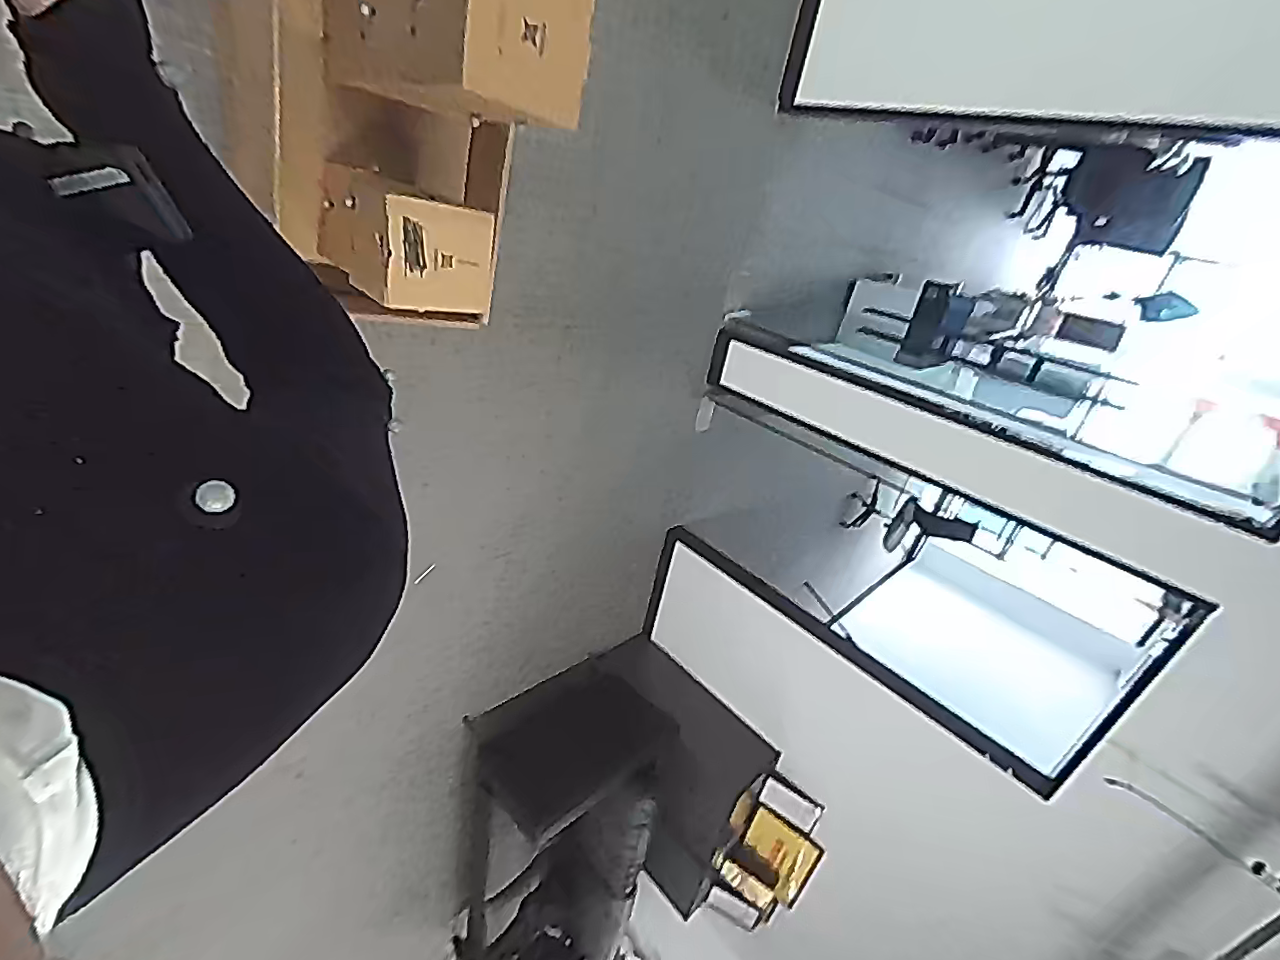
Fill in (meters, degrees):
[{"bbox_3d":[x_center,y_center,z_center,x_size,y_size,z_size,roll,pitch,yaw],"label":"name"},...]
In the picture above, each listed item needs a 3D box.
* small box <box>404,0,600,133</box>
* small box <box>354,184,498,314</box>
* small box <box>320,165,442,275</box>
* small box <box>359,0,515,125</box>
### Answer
[{"bbox_3d":[-0.182,-0.578,0.705,0.179,0.176,0.168,-12,124,-45],"label":"small box"},{"bbox_3d":[-0.368,-0.389,0.915,0.179,0.176,0.168,-13,126,-44],"label":"small box"},{"bbox_3d":[-0.472,-0.471,1.013,0.179,0.176,0.168,-7,122,-46],"label":"small box"},{"bbox_3d":[-0.291,-0.652,0.802,0.179,0.176,0.168,-12,125,-44],"label":"small box"}]
